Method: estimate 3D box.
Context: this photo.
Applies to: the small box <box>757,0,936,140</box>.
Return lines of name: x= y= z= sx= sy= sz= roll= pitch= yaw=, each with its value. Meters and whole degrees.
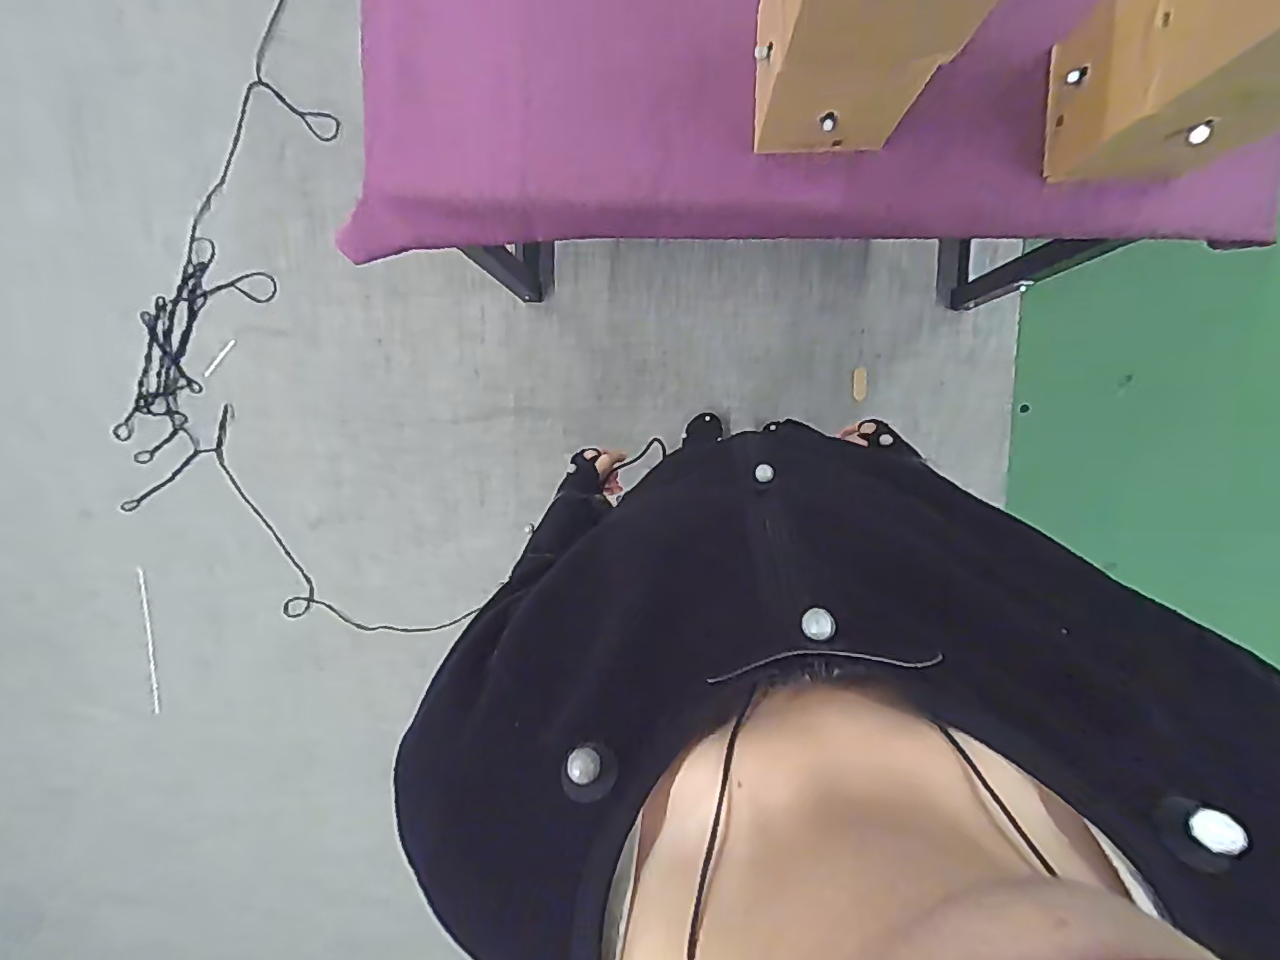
small box: x=0.231 y=-0.522 z=0.628 sx=0.168 sy=0.176 sz=0.179 roll=1 pitch=95 yaw=5

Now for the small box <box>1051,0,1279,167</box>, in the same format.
small box: x=0.607 y=-0.472 z=0.598 sx=0.179 sy=0.176 sz=0.168 roll=0 pitch=97 yaw=7

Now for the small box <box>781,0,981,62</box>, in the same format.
small box: x=0.221 y=-0.500 z=0.466 sx=0.179 sy=0.176 sz=0.168 roll=1 pitch=96 yaw=5

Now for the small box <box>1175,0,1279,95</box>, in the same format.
small box: x=0.593 y=-0.455 z=0.435 sx=0.168 sy=0.176 sz=0.179 roll=0 pitch=96 yaw=7
